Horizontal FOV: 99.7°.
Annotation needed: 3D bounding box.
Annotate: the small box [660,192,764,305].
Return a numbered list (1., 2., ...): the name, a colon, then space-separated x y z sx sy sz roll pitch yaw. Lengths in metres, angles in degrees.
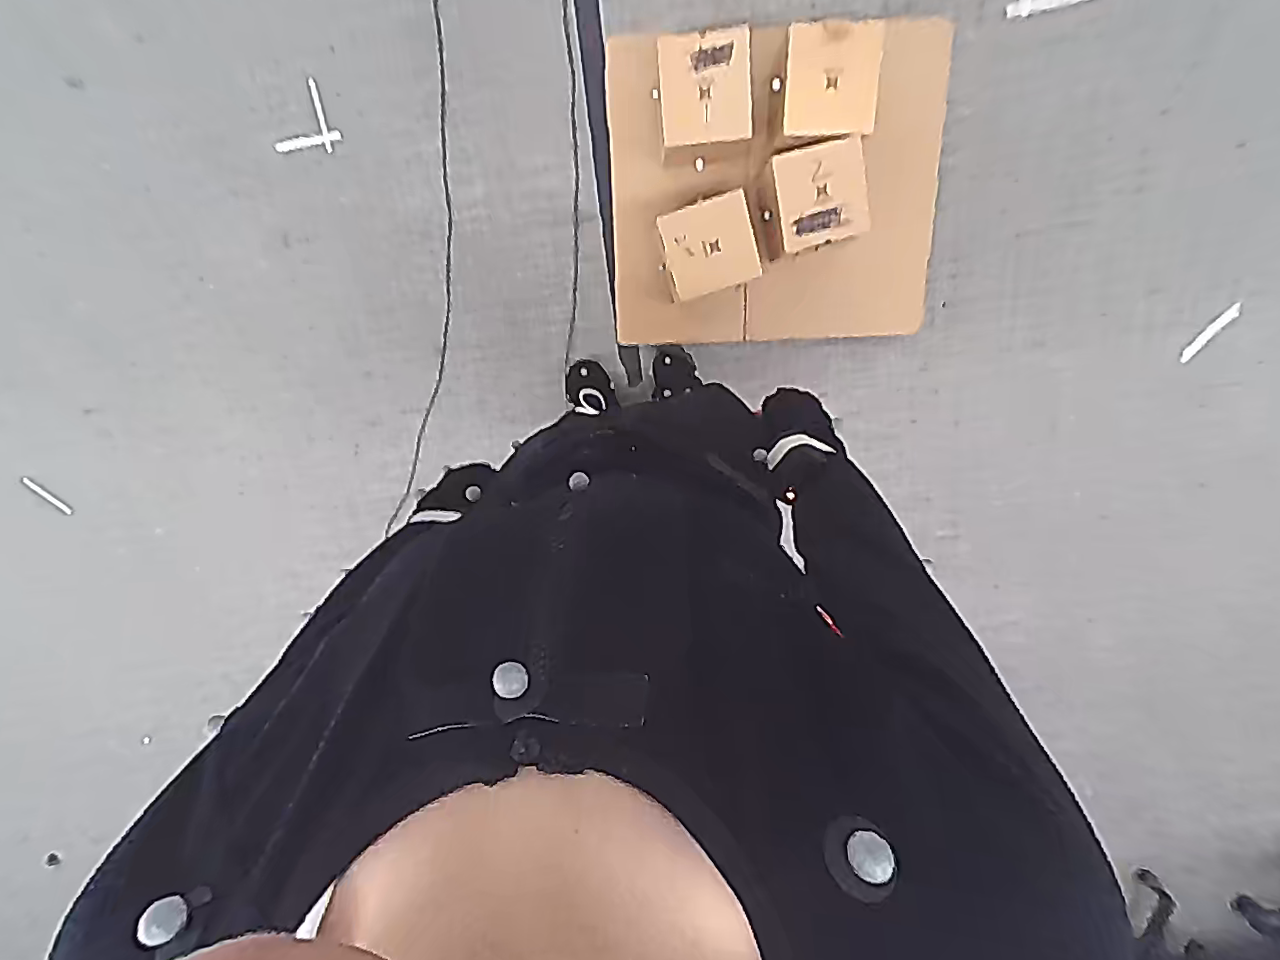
1. small box: 0.144 -0.476 1.136 0.179 0.176 0.168 -16 104 6

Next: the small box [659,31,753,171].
1. small box: 0.125 -0.733 1.064 0.168 0.176 0.179 -4 107 3
